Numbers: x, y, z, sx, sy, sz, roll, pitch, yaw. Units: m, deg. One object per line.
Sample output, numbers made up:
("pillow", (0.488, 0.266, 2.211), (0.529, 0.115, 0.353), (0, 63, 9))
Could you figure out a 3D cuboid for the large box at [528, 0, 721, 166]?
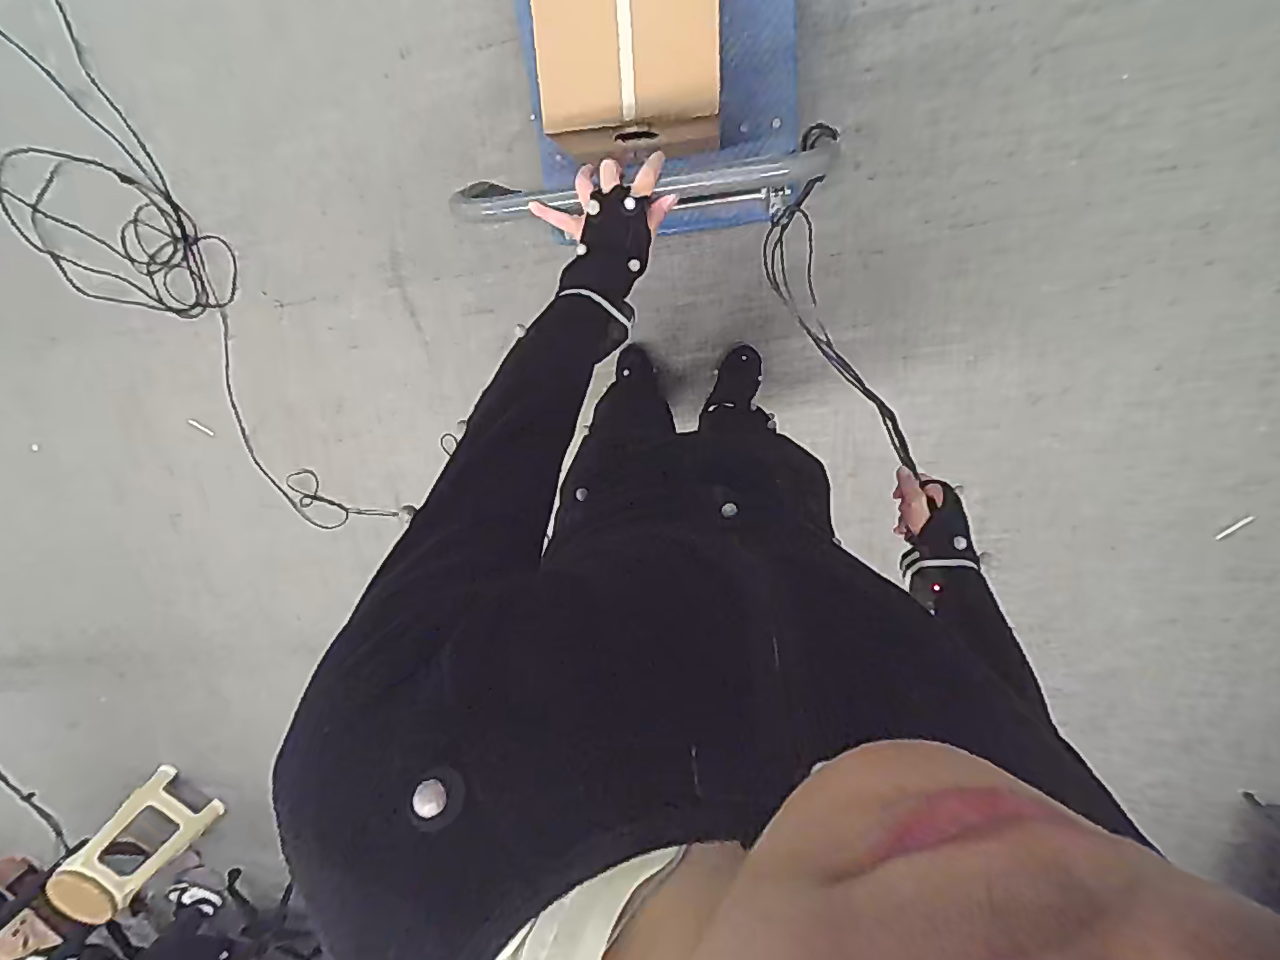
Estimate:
("large box", (-0.011, -0.850, 1.001), (0.320, 0.320, 0.408), (0, 110, 8))
